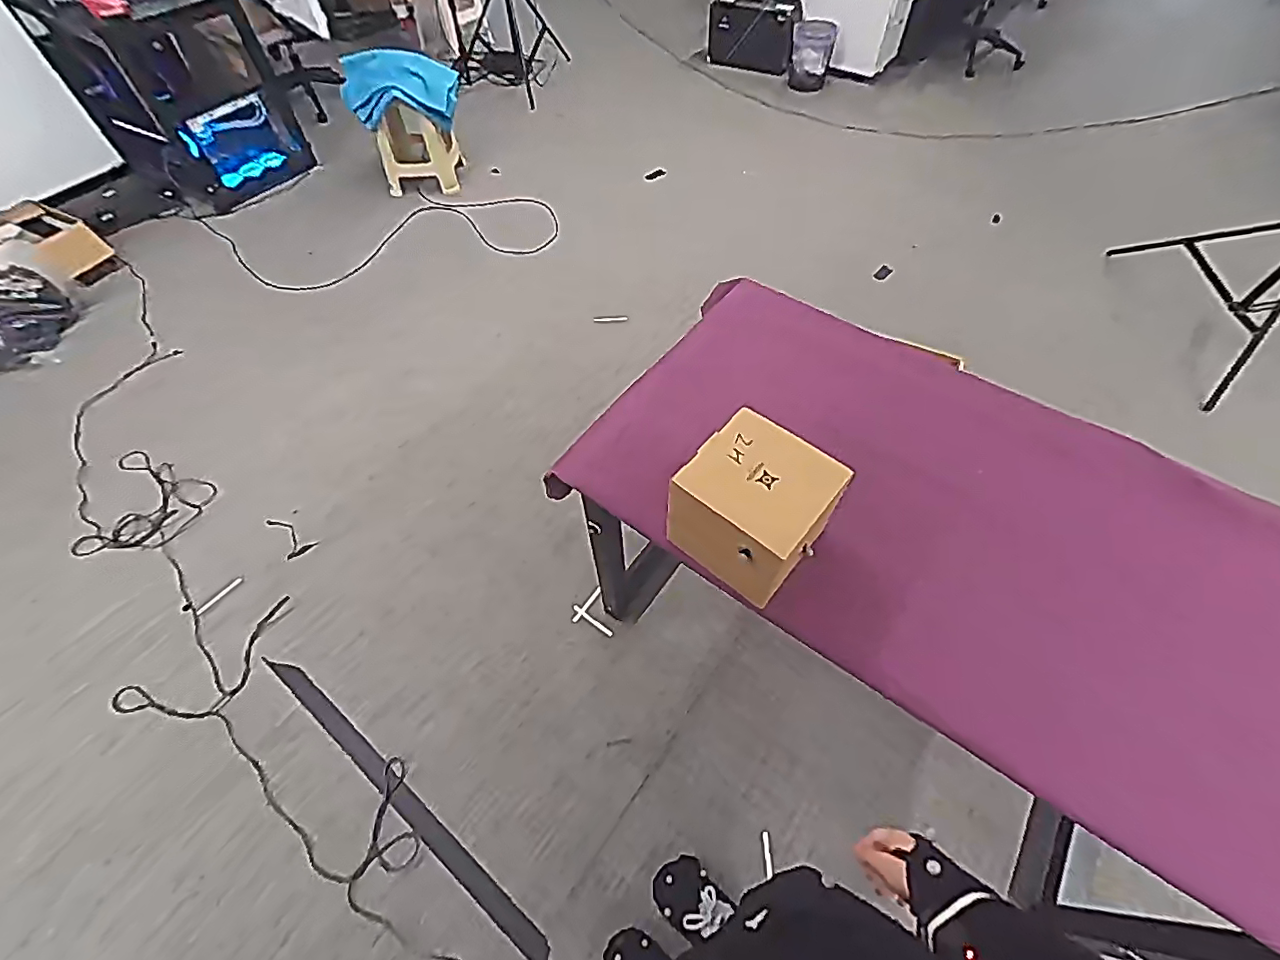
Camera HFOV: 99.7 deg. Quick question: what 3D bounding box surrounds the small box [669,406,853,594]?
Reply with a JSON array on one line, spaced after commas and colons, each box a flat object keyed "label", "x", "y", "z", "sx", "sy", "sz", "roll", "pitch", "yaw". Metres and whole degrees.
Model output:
[{"label": "small box", "x": 0.157, "y": 0.037, "z": 0.755, "sx": 0.179, "sy": 0.176, "sz": 0.168, "roll": 36, "pitch": 64, "yaw": 22}]
